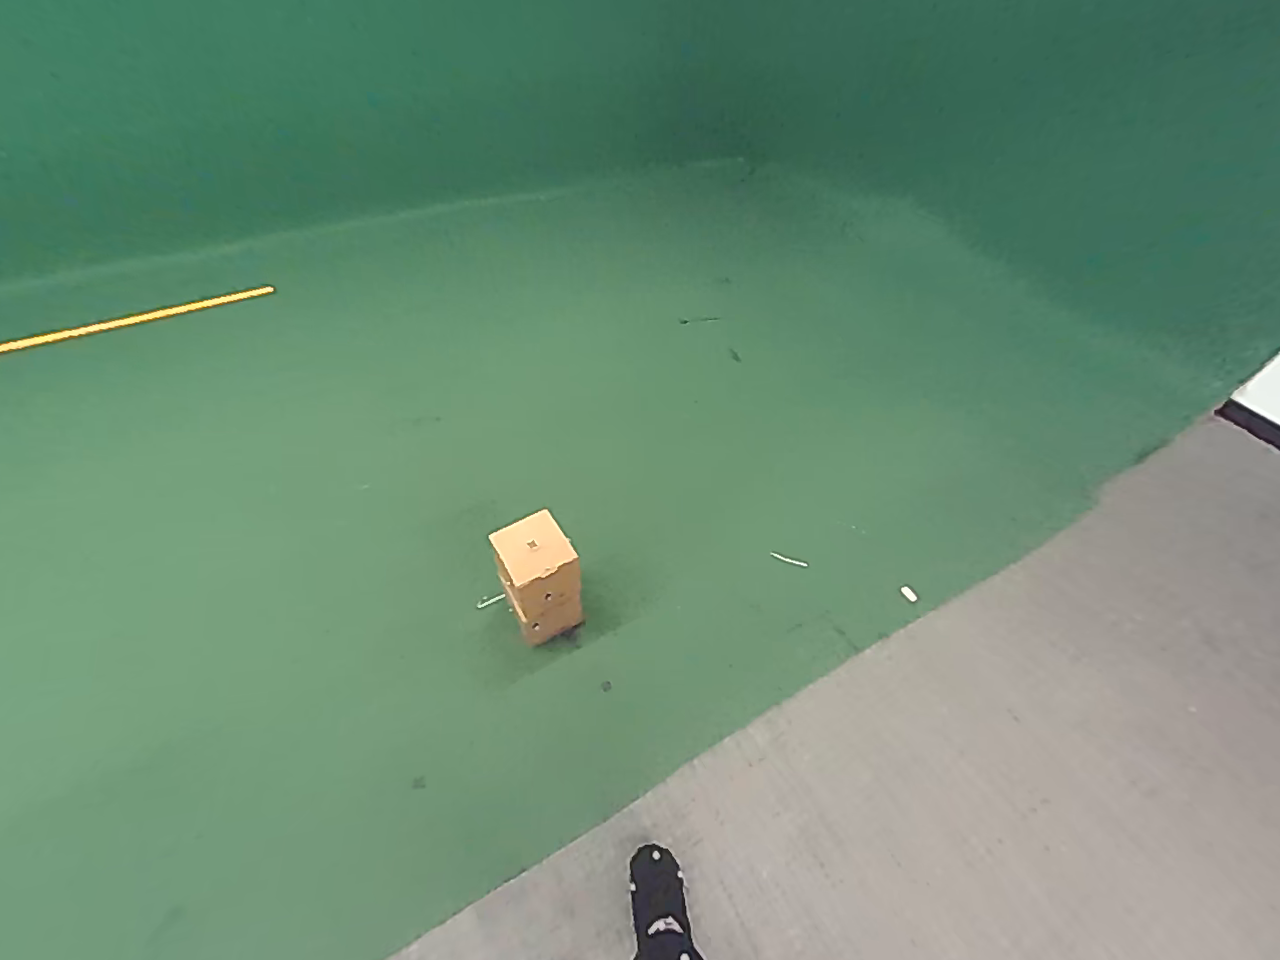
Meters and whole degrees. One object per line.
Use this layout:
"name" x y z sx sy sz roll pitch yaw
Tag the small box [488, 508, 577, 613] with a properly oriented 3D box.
"small box" -0.275 0.210 1.399 0.168 0.176 0.179 -25 57 -23
